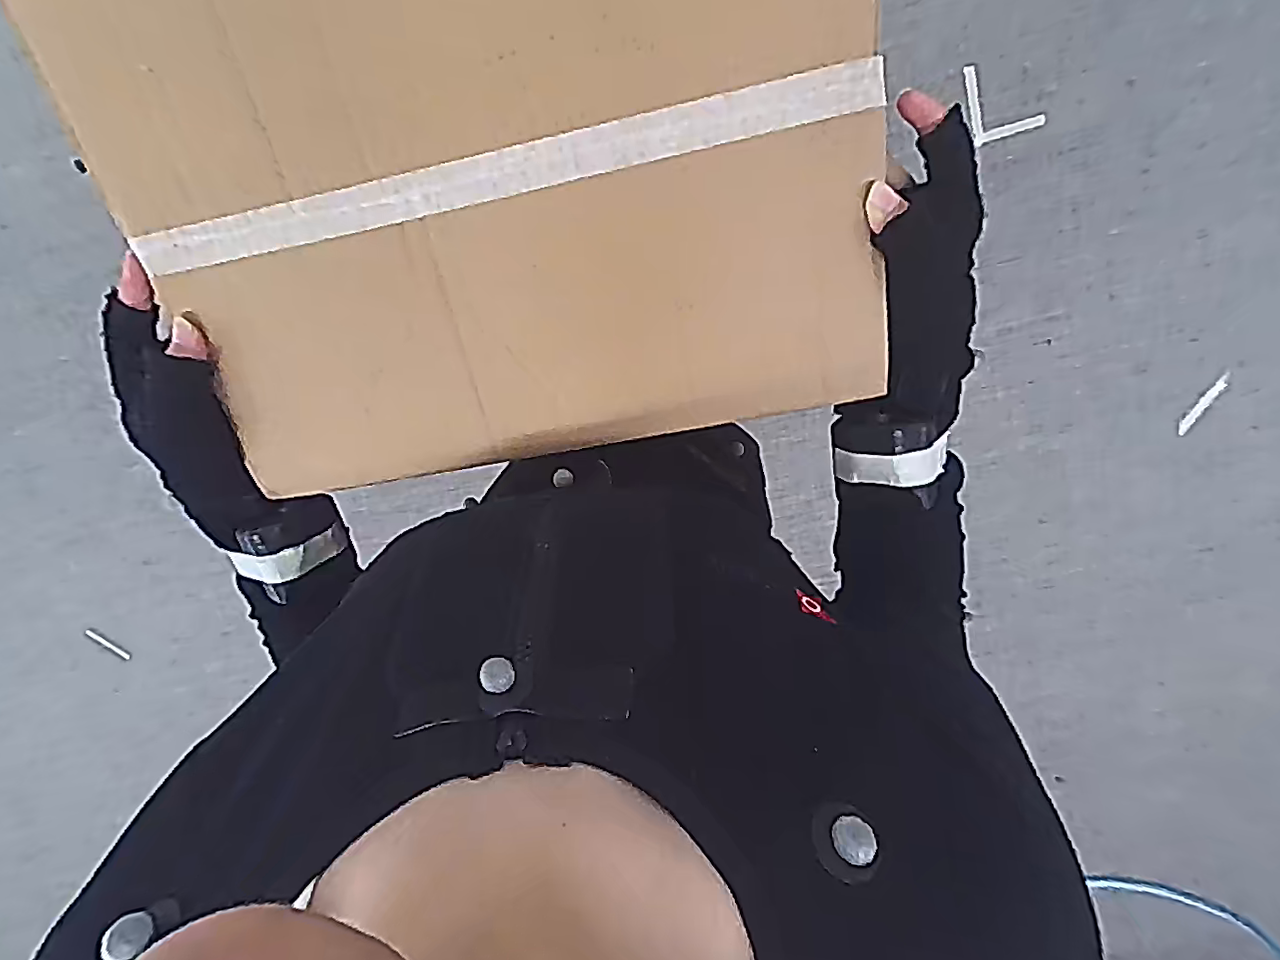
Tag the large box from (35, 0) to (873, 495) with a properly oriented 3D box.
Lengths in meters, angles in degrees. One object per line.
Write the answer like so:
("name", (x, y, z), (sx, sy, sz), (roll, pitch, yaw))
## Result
("large box", (-0.074, -0.220, 0.429), (0.408, 0.320, 0.320), (-9, 113, 6))
